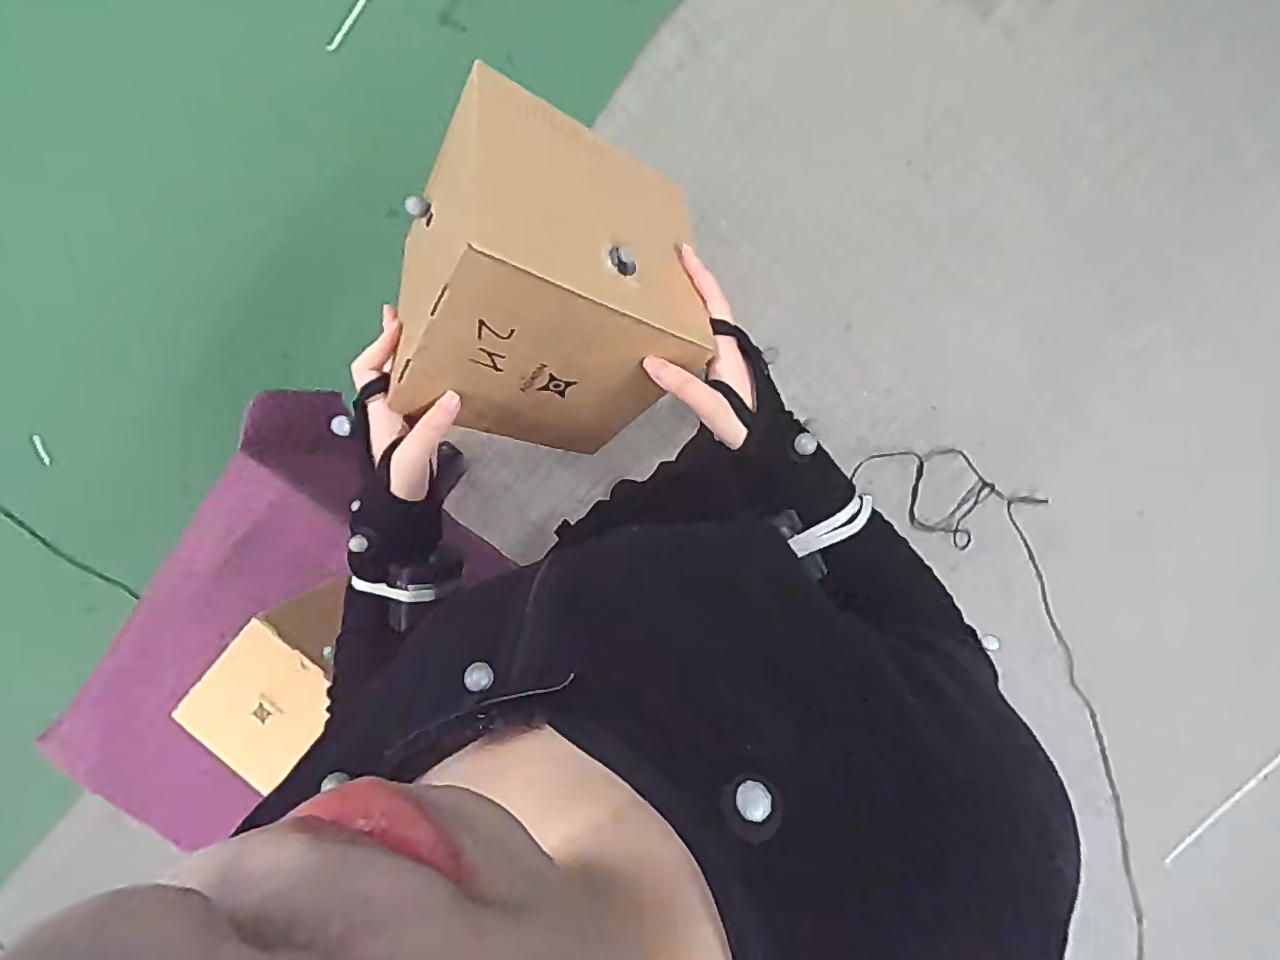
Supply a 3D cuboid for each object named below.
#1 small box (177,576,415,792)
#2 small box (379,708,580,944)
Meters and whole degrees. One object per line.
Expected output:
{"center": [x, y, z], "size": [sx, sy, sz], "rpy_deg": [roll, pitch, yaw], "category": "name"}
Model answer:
{"center": [-0.444, 0.260, 0.730], "size": [0.168, 0.176, 0.179], "rpy_deg": [43, 96, -2], "category": "small box"}
{"center": [-0.202, 0.454, 0.738], "size": [0.179, 0.176, 0.168], "rpy_deg": [41, 97, -3], "category": "small box"}
